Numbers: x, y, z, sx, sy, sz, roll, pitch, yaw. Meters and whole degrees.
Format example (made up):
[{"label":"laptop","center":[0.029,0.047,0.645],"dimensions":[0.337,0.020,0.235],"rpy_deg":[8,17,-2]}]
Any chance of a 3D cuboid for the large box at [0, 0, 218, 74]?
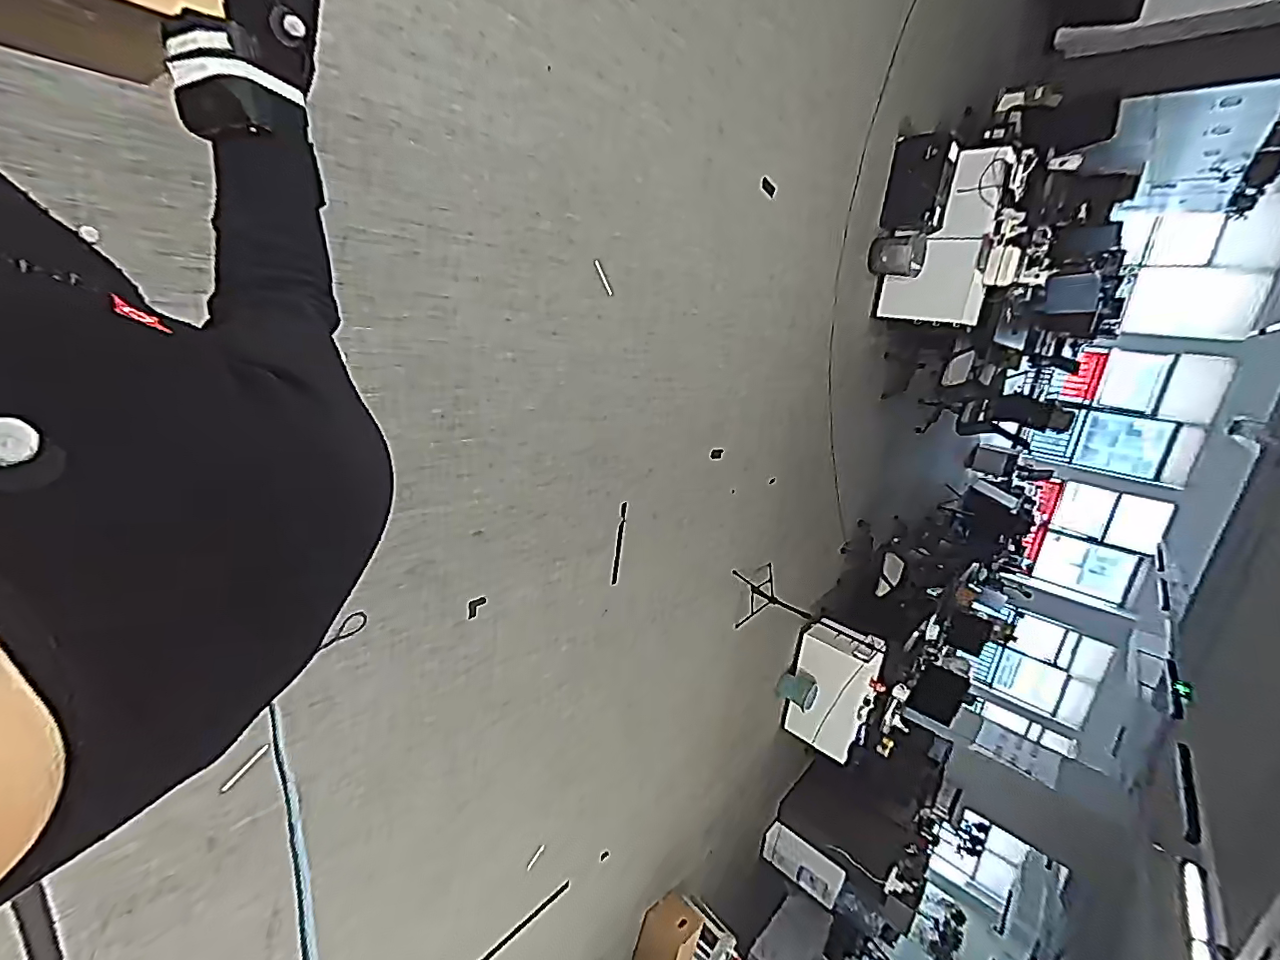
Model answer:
[{"label":"large box","center":[-0.522,-0.473,0.278],"dimensions":[0.408,0.320,0.320],"rpy_deg":[-15,121,-47]}]
